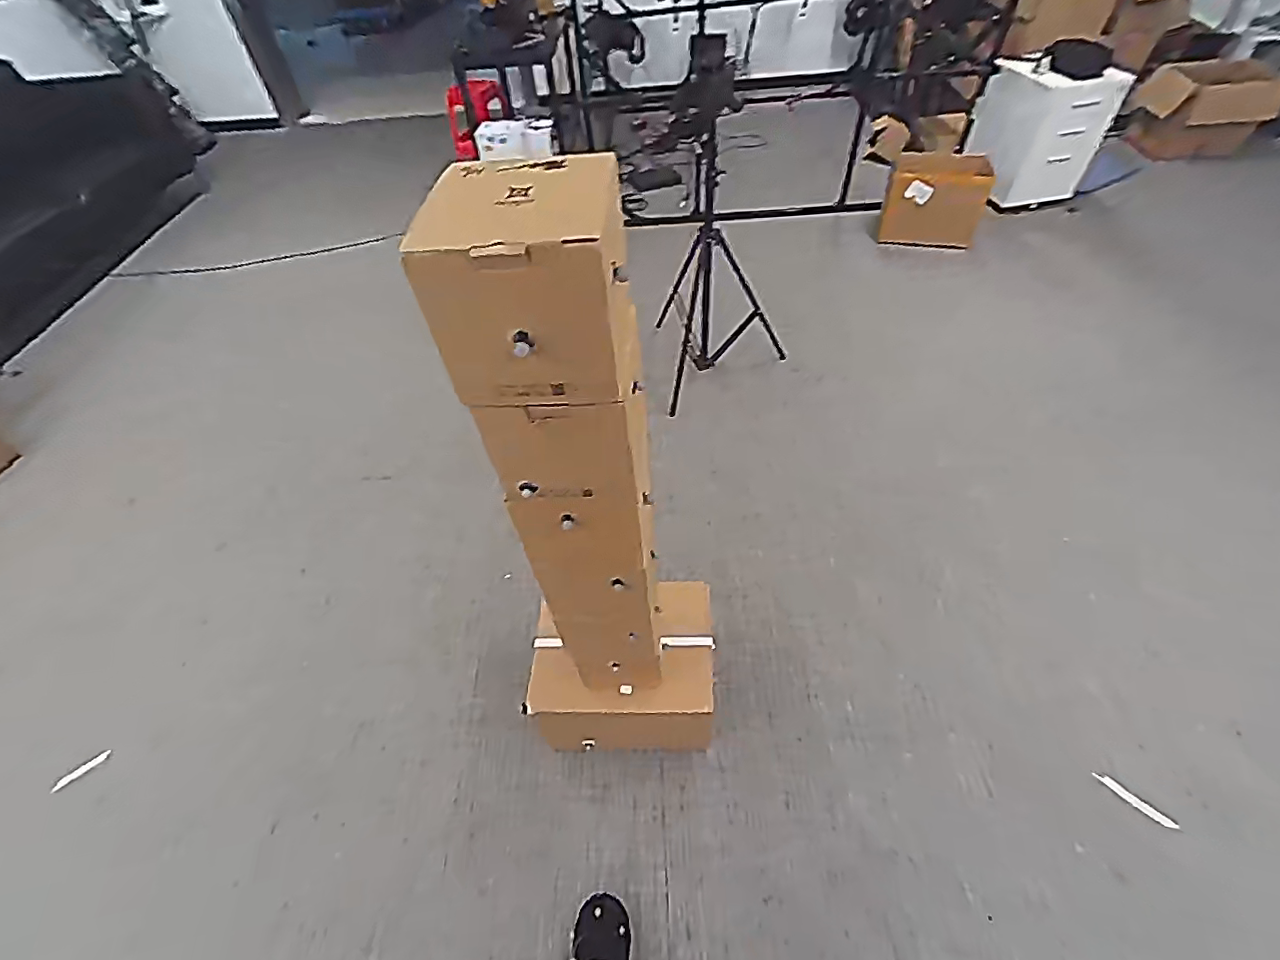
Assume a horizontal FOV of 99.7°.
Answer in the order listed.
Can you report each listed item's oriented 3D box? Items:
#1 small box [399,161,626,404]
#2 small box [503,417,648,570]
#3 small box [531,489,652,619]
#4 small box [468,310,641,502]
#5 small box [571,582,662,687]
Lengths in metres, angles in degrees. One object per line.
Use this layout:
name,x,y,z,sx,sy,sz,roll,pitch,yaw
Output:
small box,-0.105,-0.188,0.540,0.168,0.176,0.179,-1,51,4
small box,-0.080,0.021,0.792,0.179,0.176,0.168,-1,51,5
small box,-0.070,0.125,0.915,0.179,0.176,0.168,-1,50,4
small box,-0.088,-0.085,0.667,0.168,0.176,0.179,-1,50,5
small box,-0.046,0.337,1.165,0.179,0.176,0.168,-3,51,1
